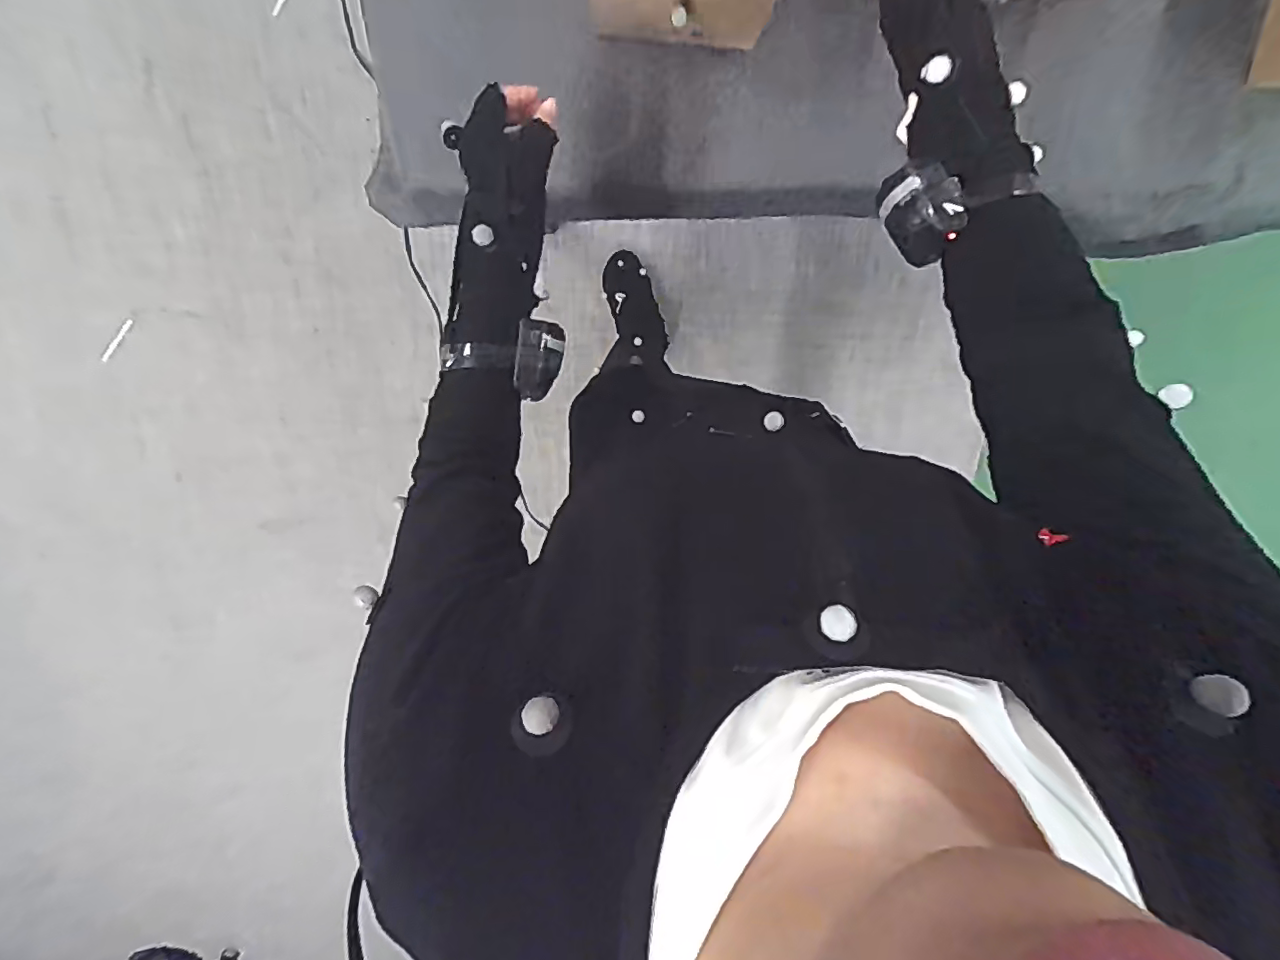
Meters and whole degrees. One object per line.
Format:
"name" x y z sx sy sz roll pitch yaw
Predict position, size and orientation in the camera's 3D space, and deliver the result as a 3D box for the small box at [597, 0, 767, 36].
"small box" 0.042 -0.506 0.444 0.168 0.176 0.179 3 109 -2
